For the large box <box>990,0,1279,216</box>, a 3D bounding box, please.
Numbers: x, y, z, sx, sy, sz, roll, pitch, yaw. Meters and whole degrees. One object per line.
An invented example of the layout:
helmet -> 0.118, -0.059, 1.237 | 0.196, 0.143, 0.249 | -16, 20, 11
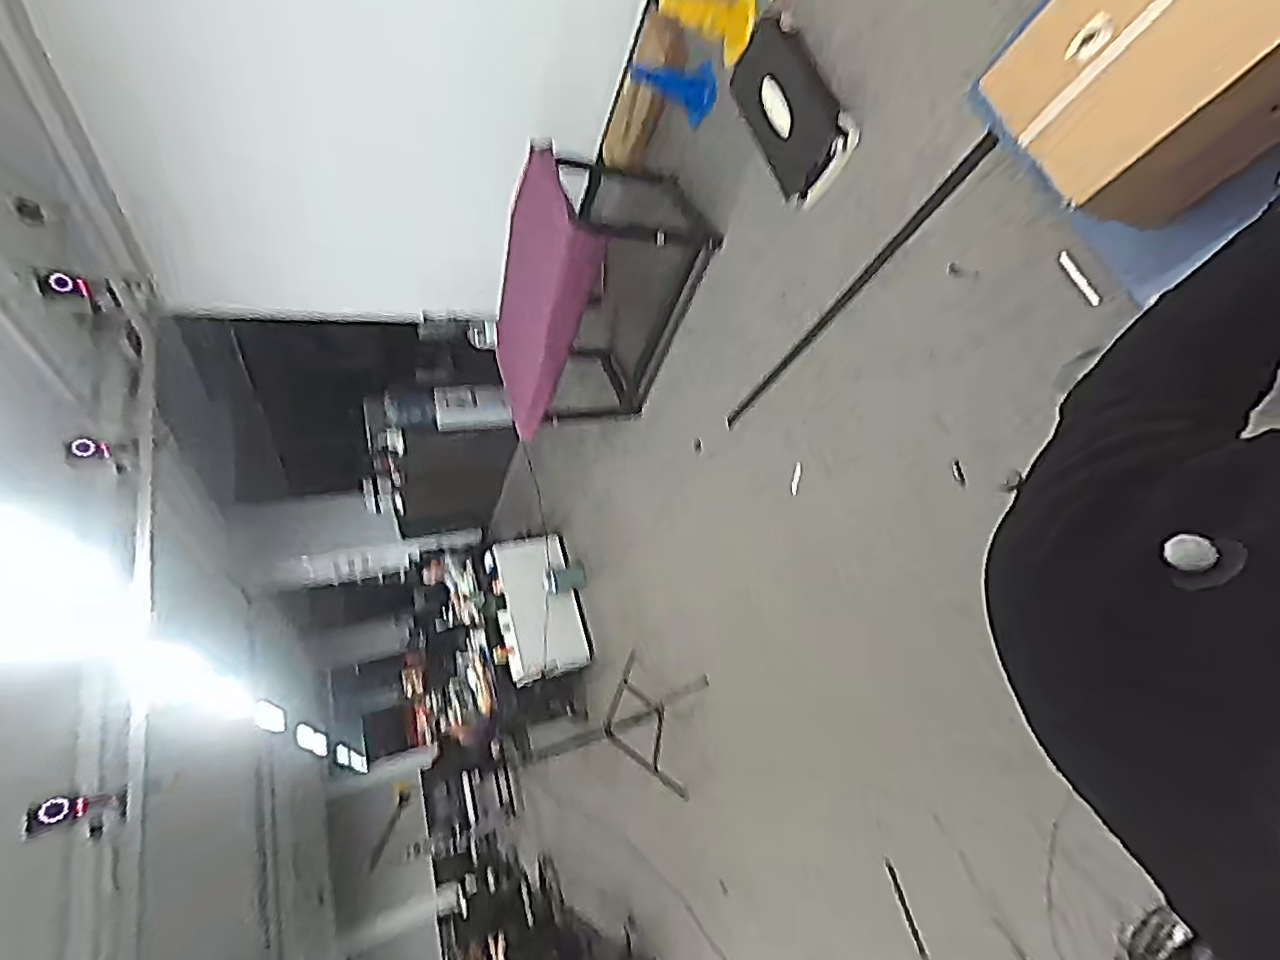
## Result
large box -> 0.874, -0.687, 0.824 | 0.408, 0.320, 0.320 | -50, 52, 56
